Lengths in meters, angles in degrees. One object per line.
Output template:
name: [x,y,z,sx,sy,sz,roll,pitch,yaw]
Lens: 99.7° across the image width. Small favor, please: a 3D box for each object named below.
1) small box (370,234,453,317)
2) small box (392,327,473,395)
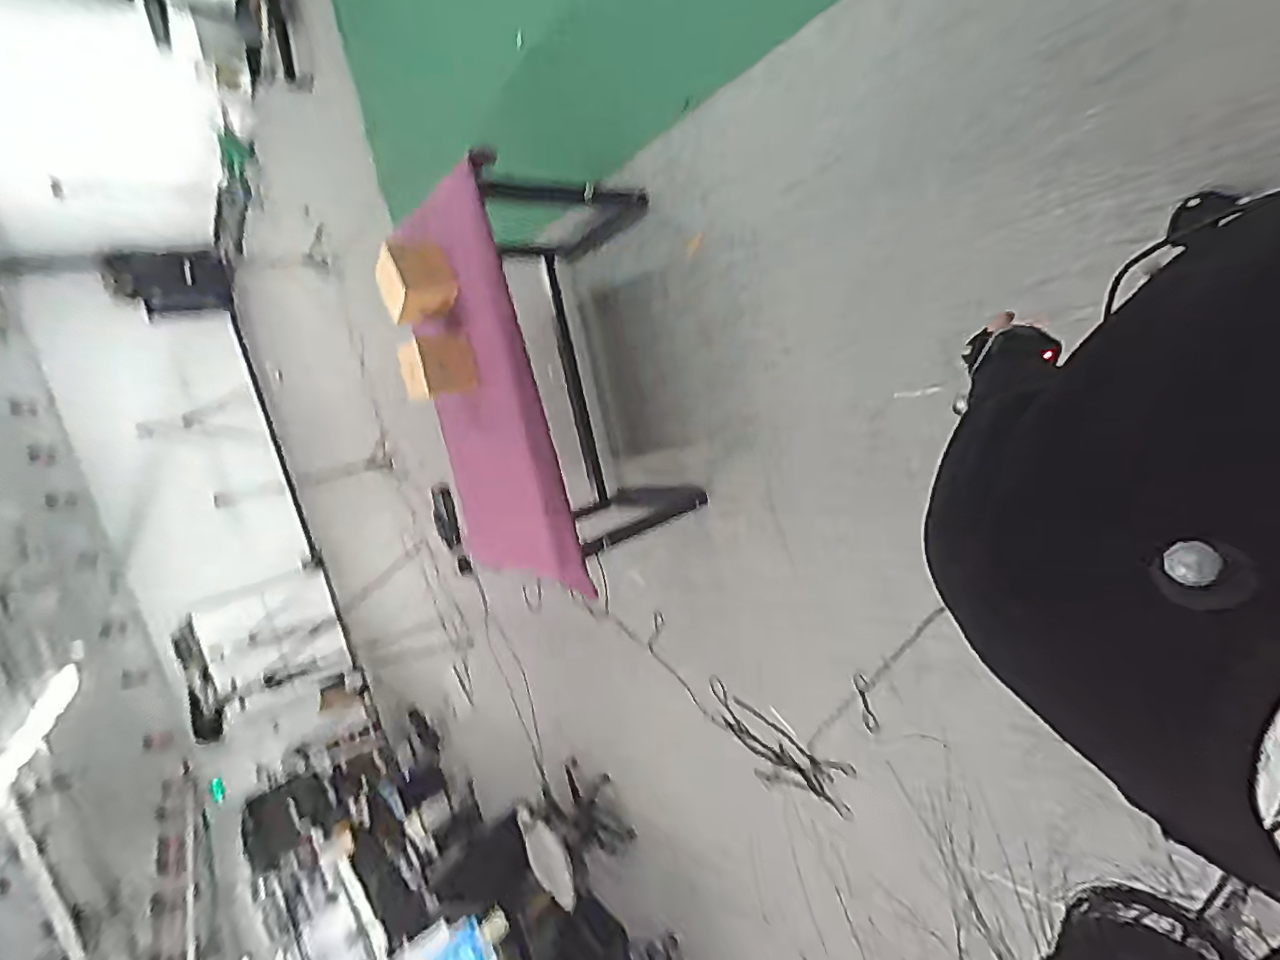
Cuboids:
small box: [-0.691,-0.621,1.638,0.168,0.176,0.179,-33,80,50]
small box: [-0.644,-0.372,1.694,0.168,0.176,0.179,4,109,47]
